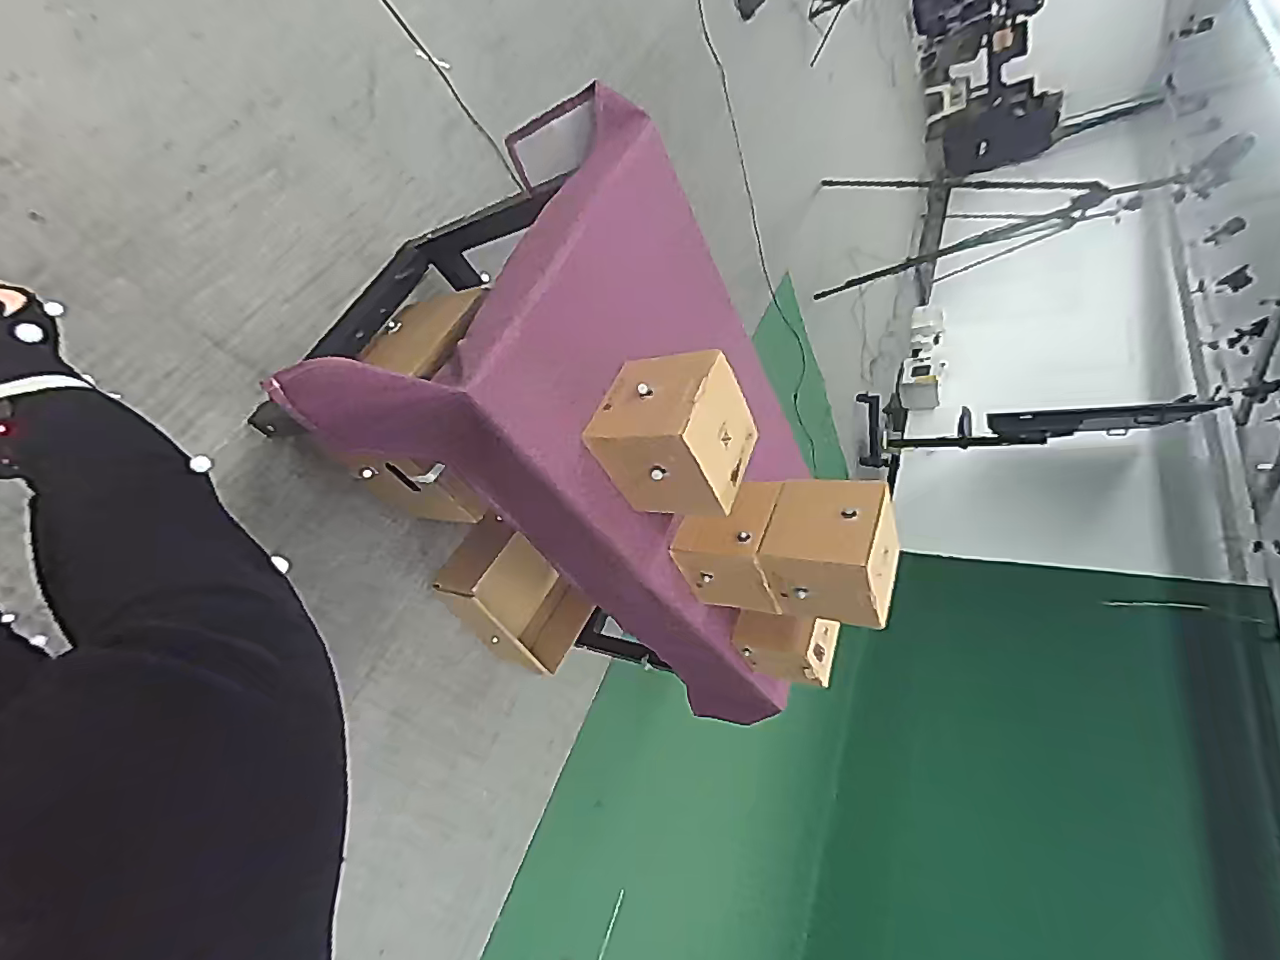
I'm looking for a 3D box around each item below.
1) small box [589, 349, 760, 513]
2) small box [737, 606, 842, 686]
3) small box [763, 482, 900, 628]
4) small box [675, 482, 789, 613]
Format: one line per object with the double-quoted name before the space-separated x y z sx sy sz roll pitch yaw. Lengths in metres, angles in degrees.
"small box" 0.054 -0.067 0.806 0.179 0.176 0.168 54 51 -39
"small box" 0.330 0.324 1.198 0.168 0.176 0.179 54 50 -39
"small box" 0.324 0.116 0.906 0.179 0.176 0.168 -58 134 -34
"small box" 0.188 0.116 1.000 0.179 0.176 0.168 -59 134 -33
